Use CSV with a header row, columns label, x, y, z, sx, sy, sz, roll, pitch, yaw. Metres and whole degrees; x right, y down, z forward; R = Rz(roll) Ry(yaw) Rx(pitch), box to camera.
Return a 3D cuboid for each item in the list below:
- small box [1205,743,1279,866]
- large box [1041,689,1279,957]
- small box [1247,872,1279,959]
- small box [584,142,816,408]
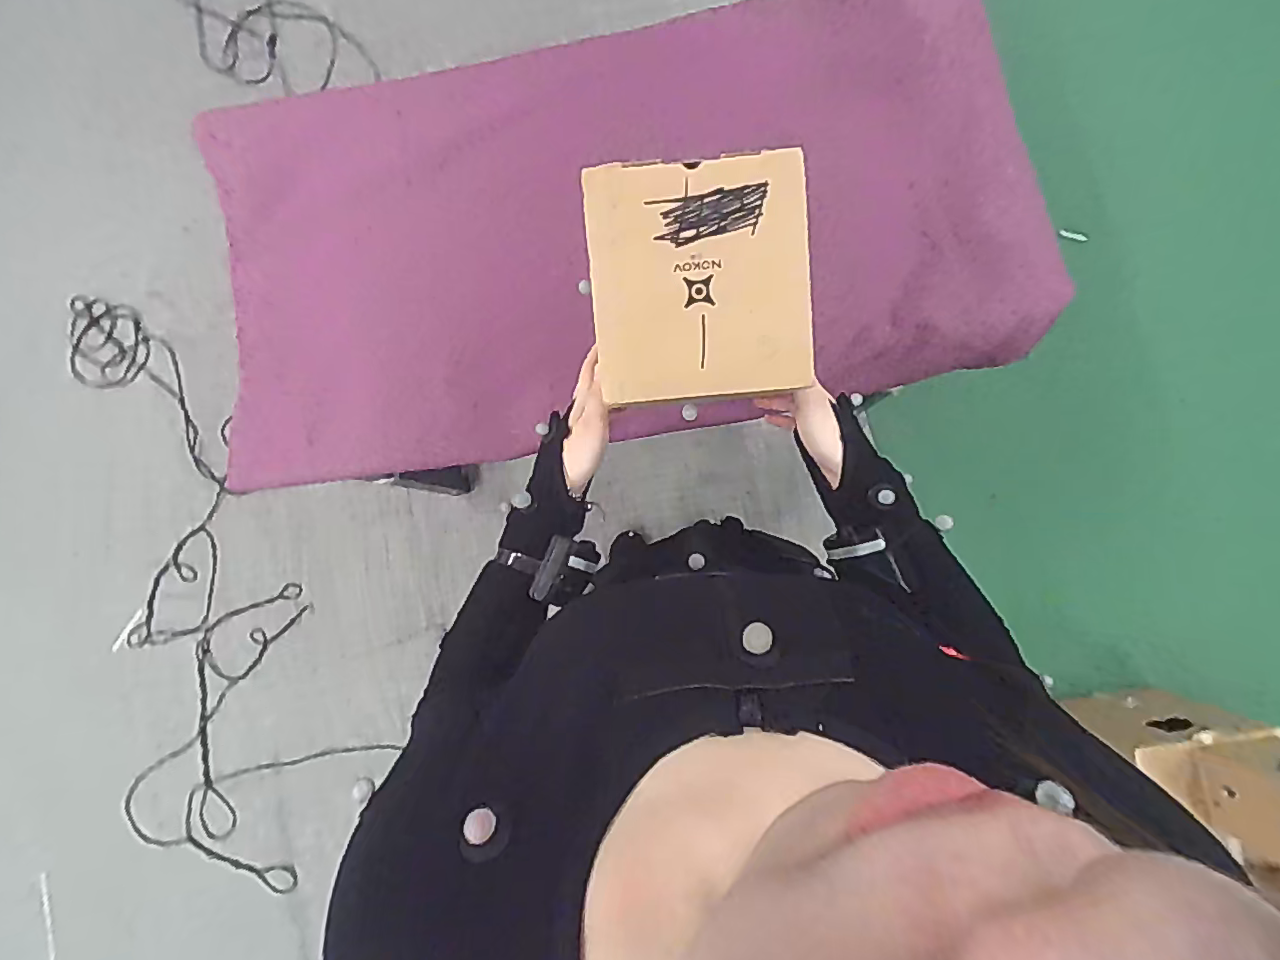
label,x,y,z,sx,sy,sz,roll,pitch,yaw
small box,1.242,0.615,1.014,0.179,0.176,0.168,-9,85,2
large box,1.220,0.750,1.246,0.320,0.320,0.408,-9,85,2
small box,1.287,0.858,0.986,0.168,0.176,0.179,-4,84,2
small box,0.046,-0.158,0.474,0.168,0.176,0.179,-4,96,3
